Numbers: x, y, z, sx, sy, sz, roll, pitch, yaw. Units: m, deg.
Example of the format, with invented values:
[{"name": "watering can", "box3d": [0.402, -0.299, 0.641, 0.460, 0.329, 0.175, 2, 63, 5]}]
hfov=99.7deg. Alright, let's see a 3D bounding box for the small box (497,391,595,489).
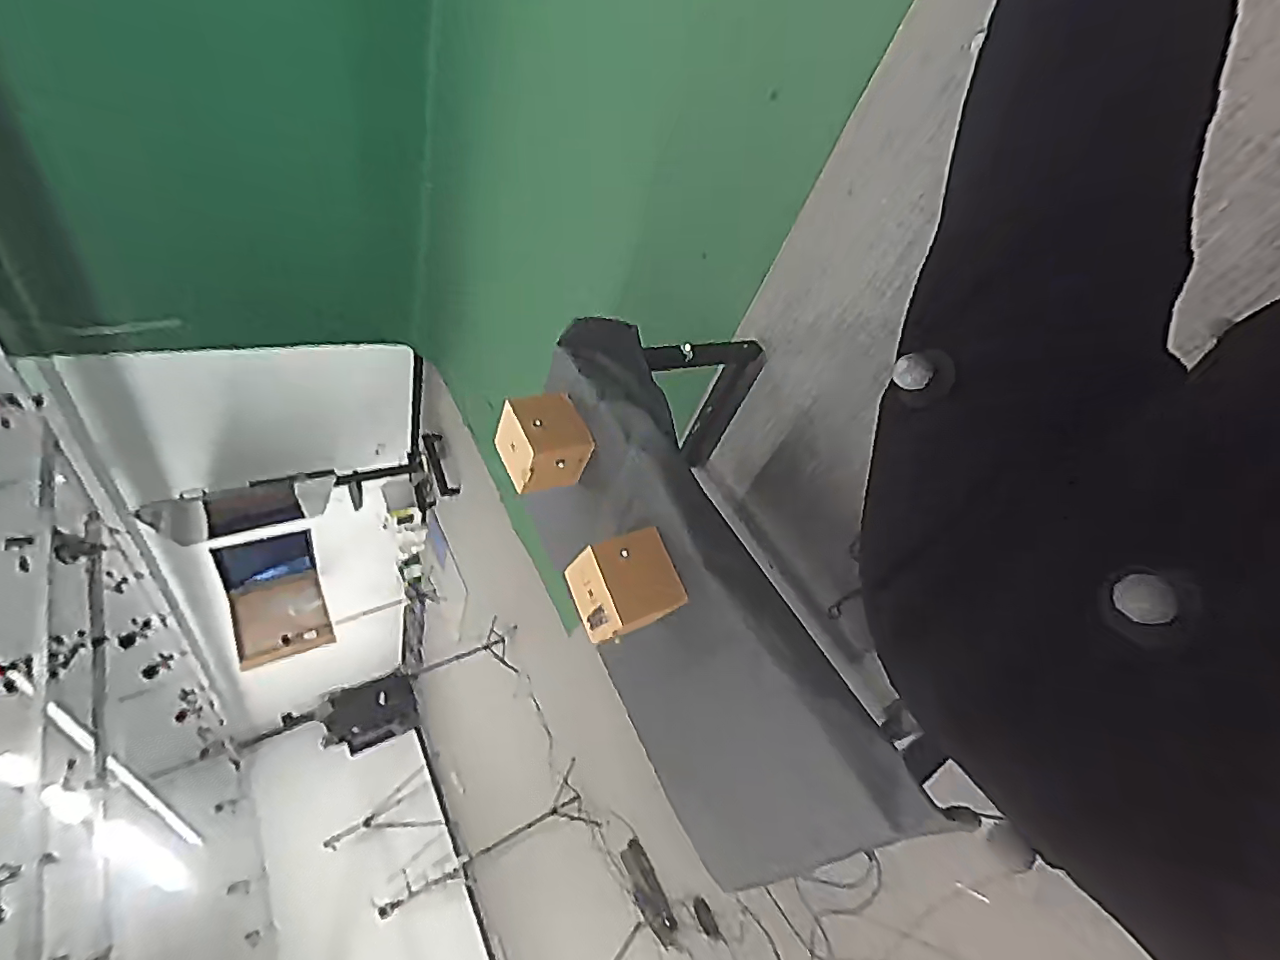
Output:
[{"name": "small box", "box3d": [-0.235, -0.106, 1.356, 0.179, 0.176, 0.168, 60, 142, 24]}]
